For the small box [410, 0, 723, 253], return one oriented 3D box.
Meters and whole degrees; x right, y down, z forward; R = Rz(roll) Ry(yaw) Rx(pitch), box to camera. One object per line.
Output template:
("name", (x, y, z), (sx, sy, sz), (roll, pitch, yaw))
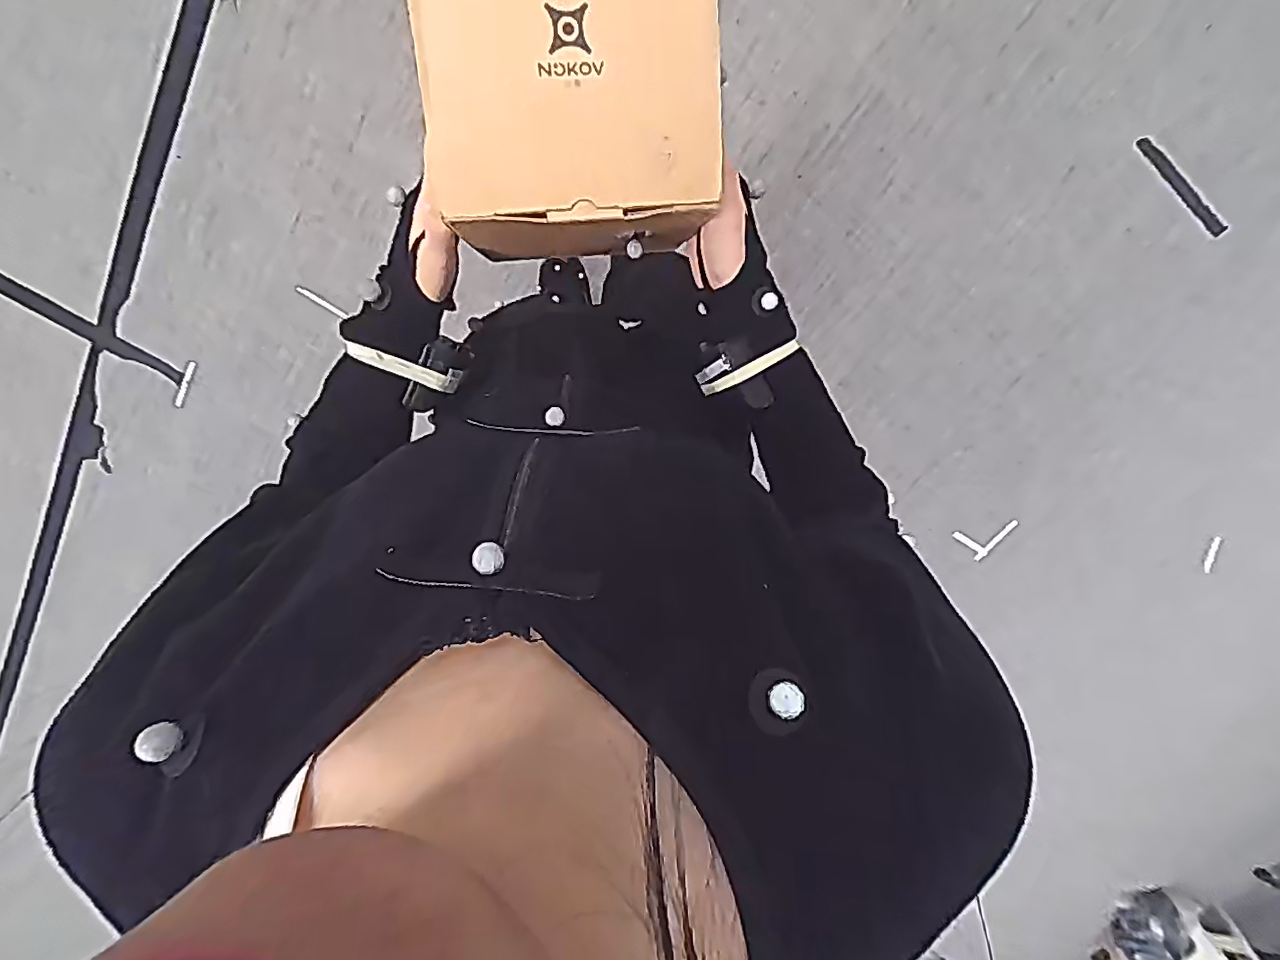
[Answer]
("small box", (-0.045, -0.258, 0.365), (0.168, 0.176, 0.179), (-6, 104, -5))
